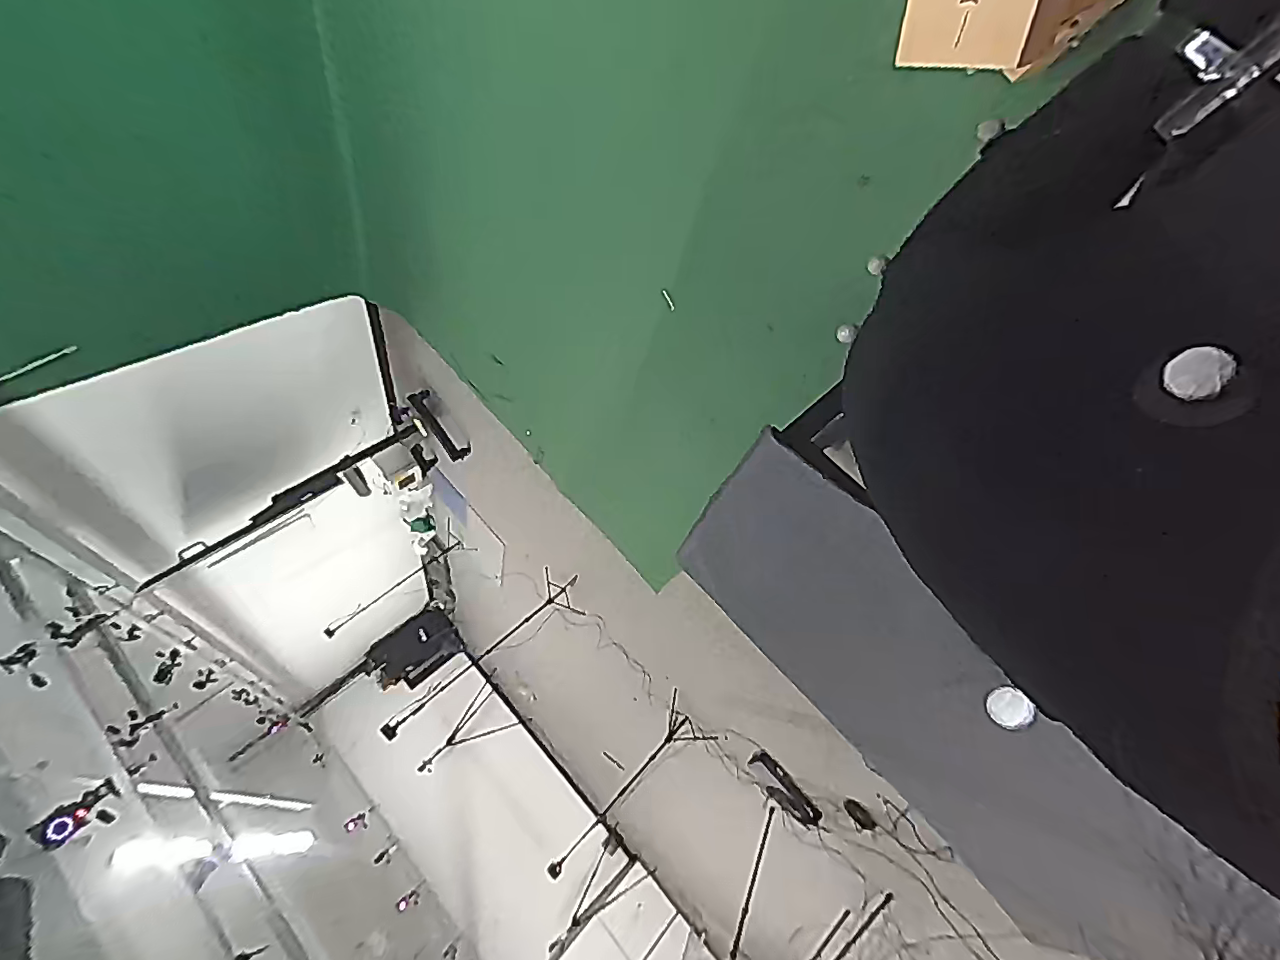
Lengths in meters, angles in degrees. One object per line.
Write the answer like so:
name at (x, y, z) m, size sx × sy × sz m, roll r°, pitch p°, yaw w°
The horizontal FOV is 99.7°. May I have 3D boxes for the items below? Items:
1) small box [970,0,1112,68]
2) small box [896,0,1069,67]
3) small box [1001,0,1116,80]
small box at (0.595, -0.766, 0.810) m, size 0.168 × 0.176 × 0.179 m, roll 0°, pitch 120°, yaw 51°
small box at (0.481, -0.678, 0.730) m, size 0.168 × 0.176 × 0.179 m, roll 30°, pitch 142°, yaw 31°
small box at (0.692, -0.837, 0.923) m, size 0.179 × 0.176 × 0.168 m, roll 54°, pitch 147°, yaw -1°
